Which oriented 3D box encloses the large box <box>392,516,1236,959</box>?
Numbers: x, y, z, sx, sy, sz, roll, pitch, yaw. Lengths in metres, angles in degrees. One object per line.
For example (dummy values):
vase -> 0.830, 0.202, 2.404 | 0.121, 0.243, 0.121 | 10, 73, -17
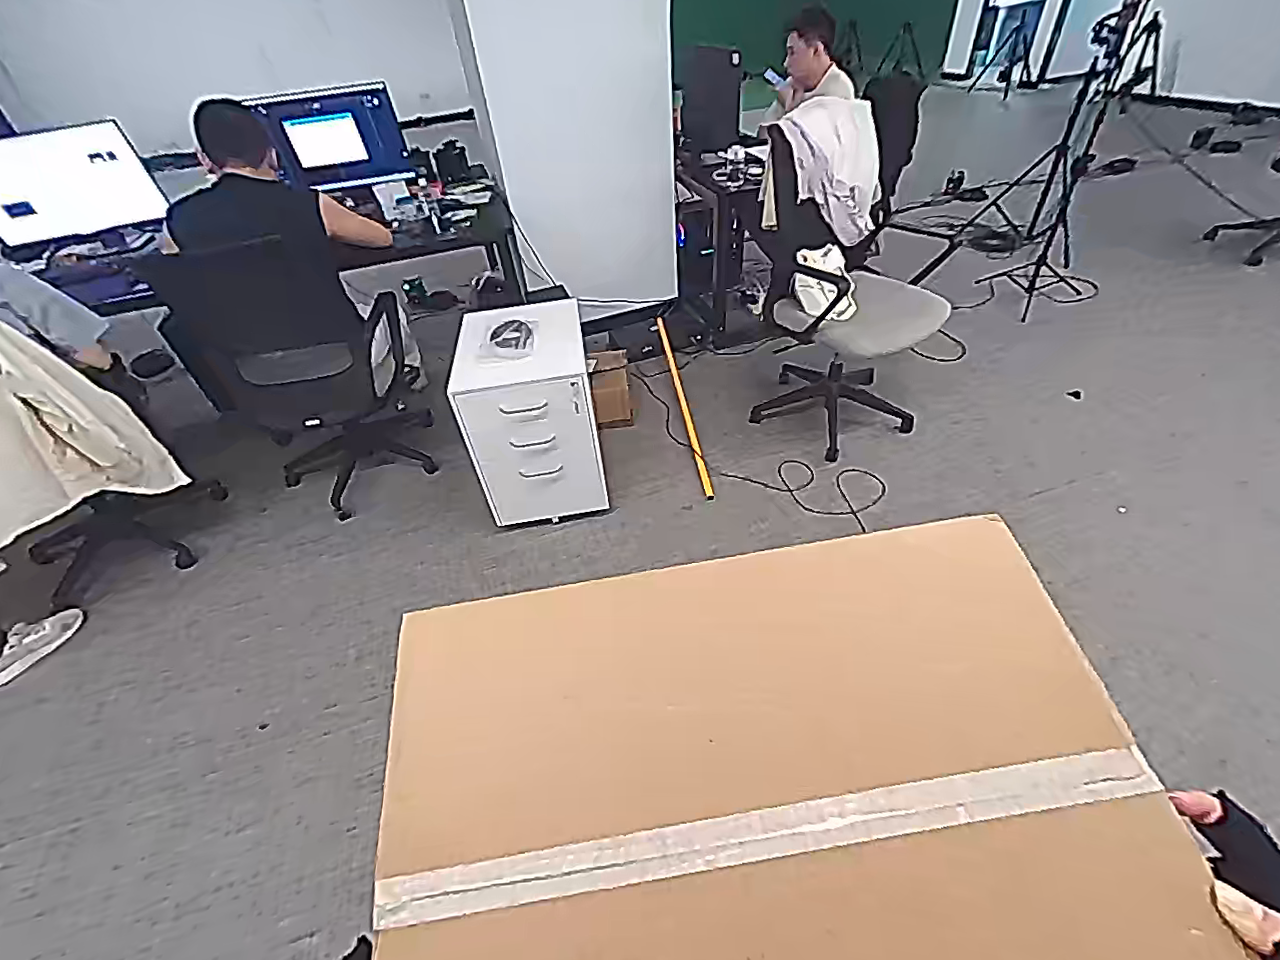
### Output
large box -> 0.077, 0.266, 0.417 | 0.408, 0.320, 0.320 | -10, 58, 0
